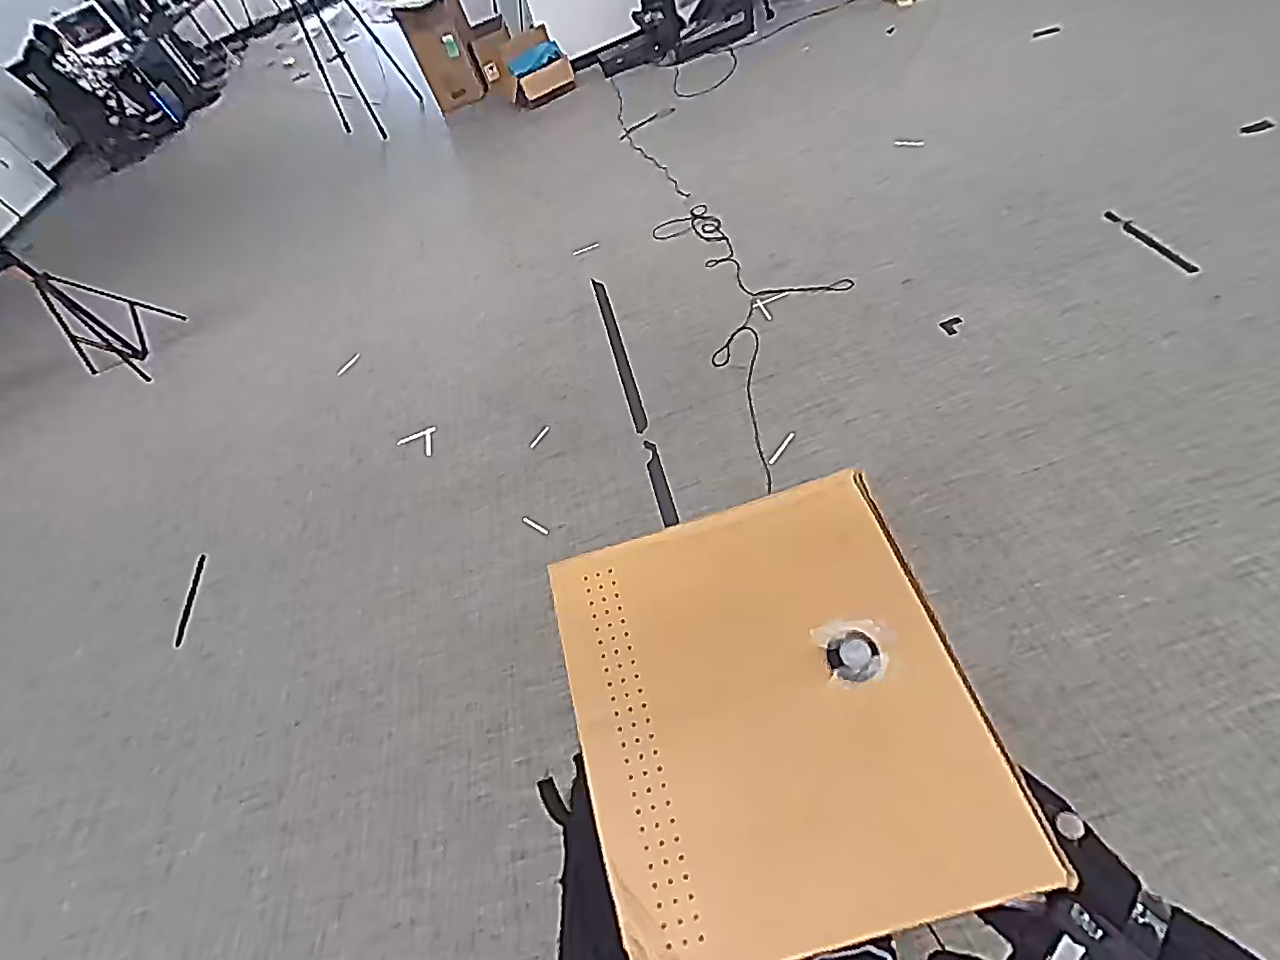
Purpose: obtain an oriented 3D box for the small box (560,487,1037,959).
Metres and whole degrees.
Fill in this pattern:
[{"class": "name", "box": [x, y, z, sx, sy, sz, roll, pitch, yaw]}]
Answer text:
[{"class": "small box", "box": [0.064, 0.135, 0.314, 0.176, 0.168, 0.179, -19, 63, 3]}]
